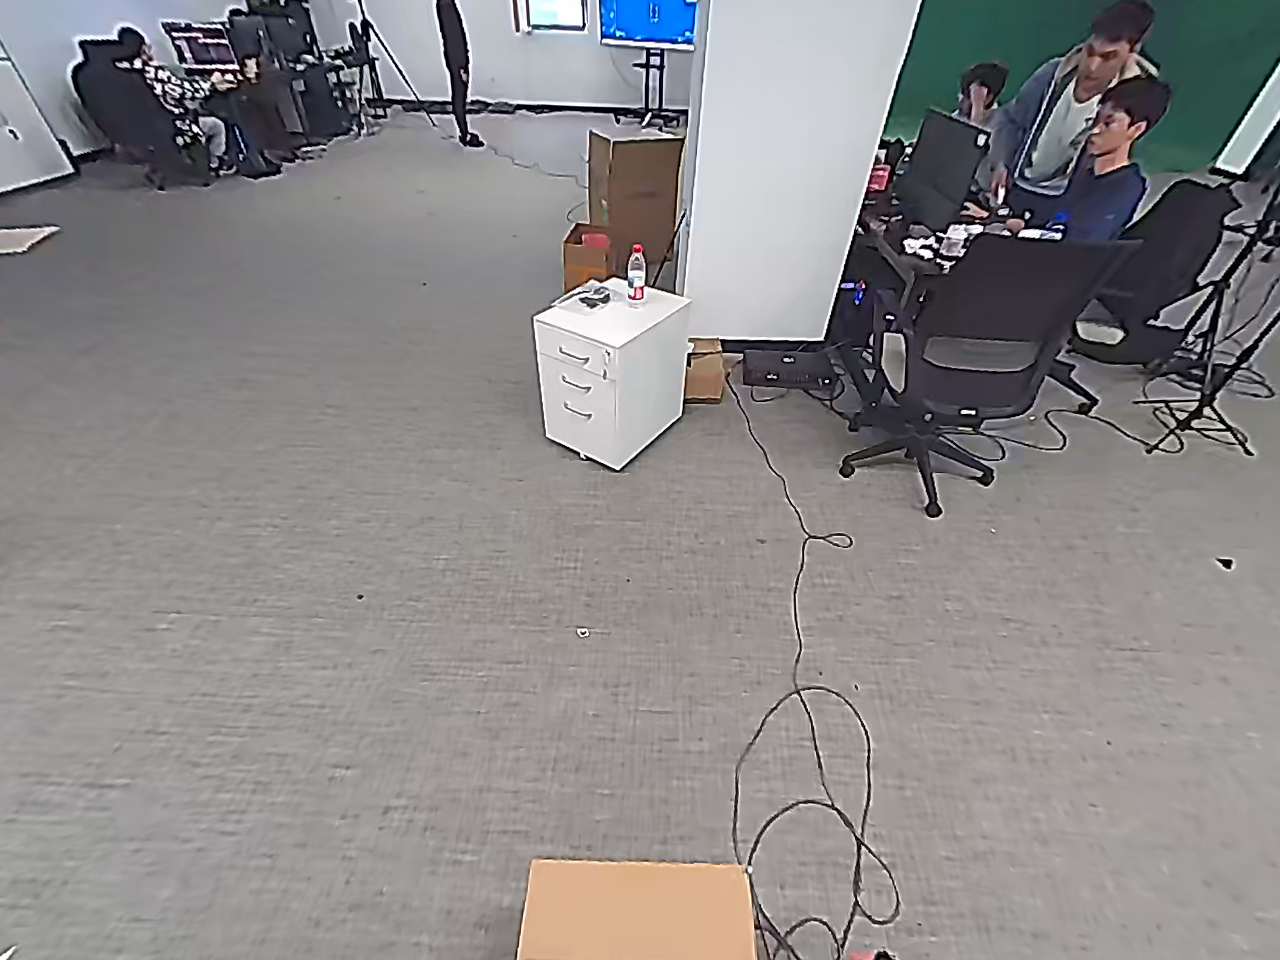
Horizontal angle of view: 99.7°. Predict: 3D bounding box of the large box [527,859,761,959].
[{"bbox_3d":[0.002,0.930,0.994,0.408,0.320,0.320,1,41,0],"label":"large box"}]
